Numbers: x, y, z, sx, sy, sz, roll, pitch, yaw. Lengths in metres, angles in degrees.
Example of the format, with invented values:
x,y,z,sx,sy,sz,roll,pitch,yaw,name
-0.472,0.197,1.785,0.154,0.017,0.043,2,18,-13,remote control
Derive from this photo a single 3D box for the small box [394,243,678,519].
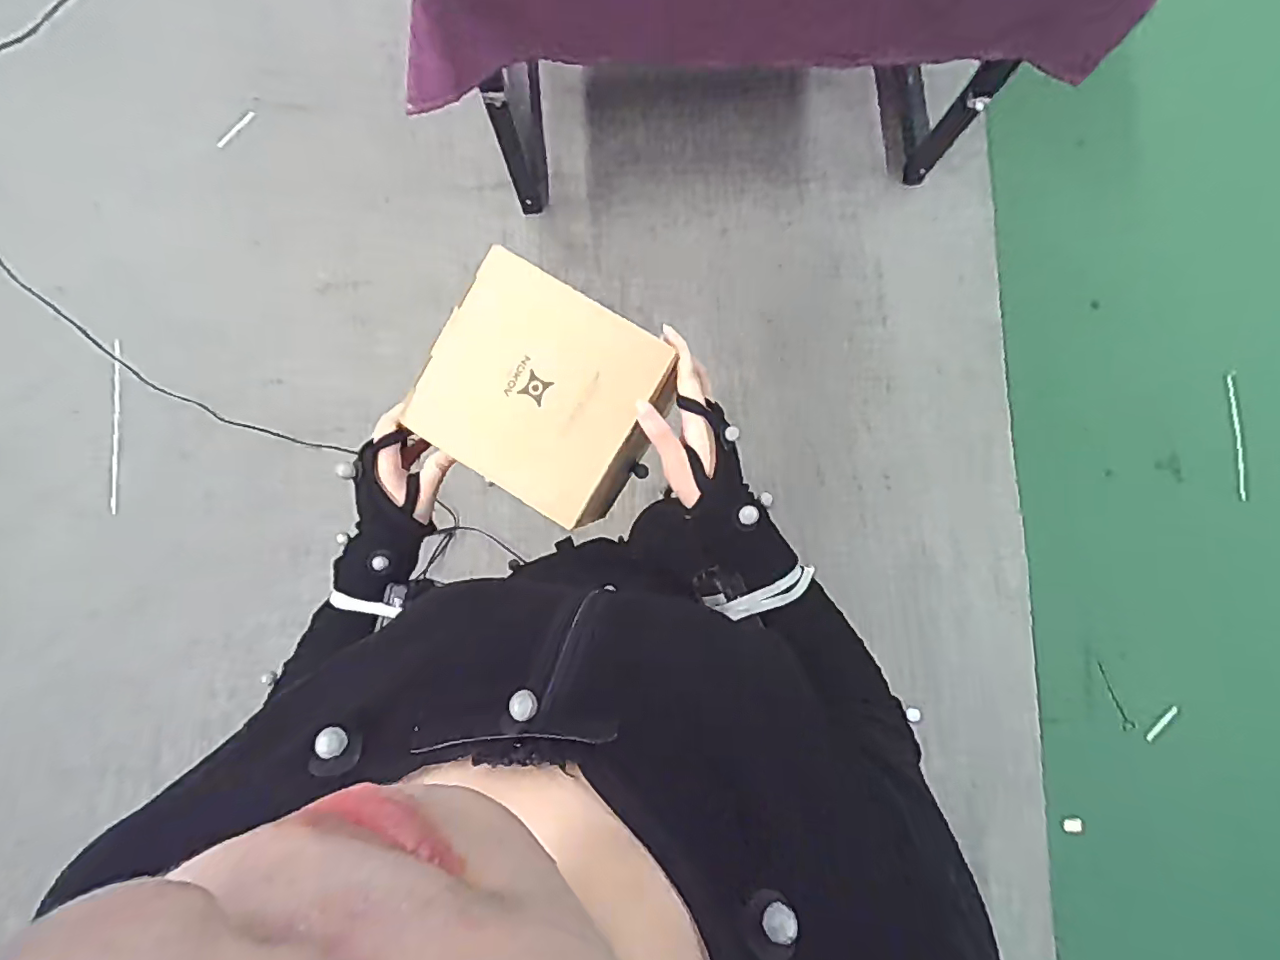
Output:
x,y,z,sx,sy,sz,roll,pitch,yaw,name
-0.080,-0.078,0.508,0.179,0.176,0.168,32,93,6,small box
